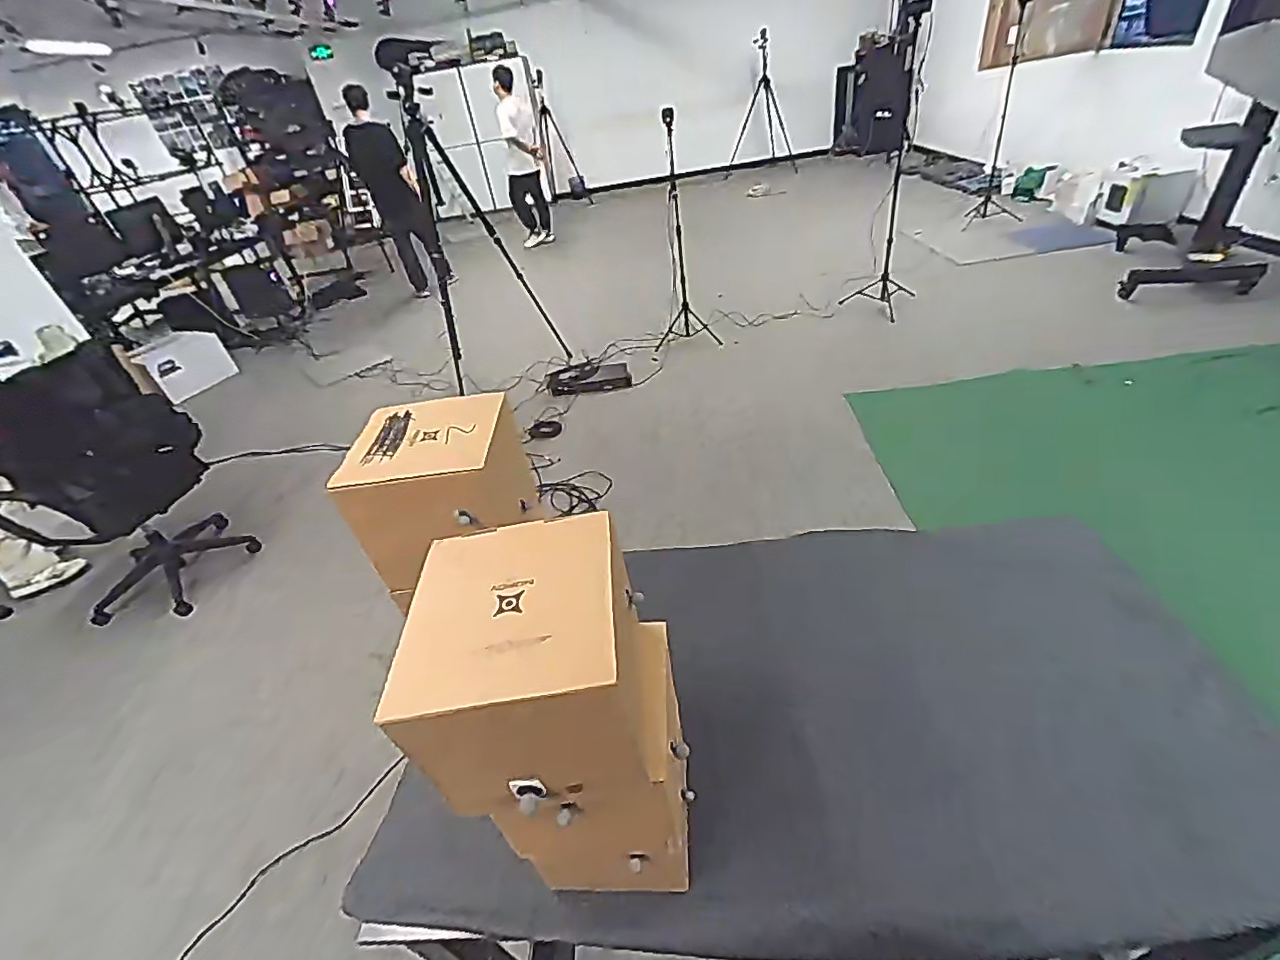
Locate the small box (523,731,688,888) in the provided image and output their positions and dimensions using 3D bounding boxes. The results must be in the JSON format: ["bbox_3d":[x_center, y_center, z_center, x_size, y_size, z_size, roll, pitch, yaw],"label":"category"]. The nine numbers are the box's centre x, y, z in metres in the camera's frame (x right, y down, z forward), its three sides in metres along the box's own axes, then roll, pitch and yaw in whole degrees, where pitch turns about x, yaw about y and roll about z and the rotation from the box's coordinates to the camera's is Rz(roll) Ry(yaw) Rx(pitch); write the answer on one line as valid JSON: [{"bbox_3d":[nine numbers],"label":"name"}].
[{"bbox_3d":[-0.031,0.391,0.685,0.179,0.176,0.168,-5,37,8],"label":"small box"}]

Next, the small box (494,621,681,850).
[{"bbox_3d":[-0.049,0.272,0.576,0.179,0.176,0.168,-6,38,7],"label":"small box"}]

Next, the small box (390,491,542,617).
[{"bbox_3d":[-0.222,0.140,0.787,0.179,0.176,0.168,-8,39,4],"label":"small box"}]

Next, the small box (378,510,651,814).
[{"bbox_3d":[-0.088,0.155,0.469,0.168,0.176,0.179,-11,39,3],"label":"small box"}]
